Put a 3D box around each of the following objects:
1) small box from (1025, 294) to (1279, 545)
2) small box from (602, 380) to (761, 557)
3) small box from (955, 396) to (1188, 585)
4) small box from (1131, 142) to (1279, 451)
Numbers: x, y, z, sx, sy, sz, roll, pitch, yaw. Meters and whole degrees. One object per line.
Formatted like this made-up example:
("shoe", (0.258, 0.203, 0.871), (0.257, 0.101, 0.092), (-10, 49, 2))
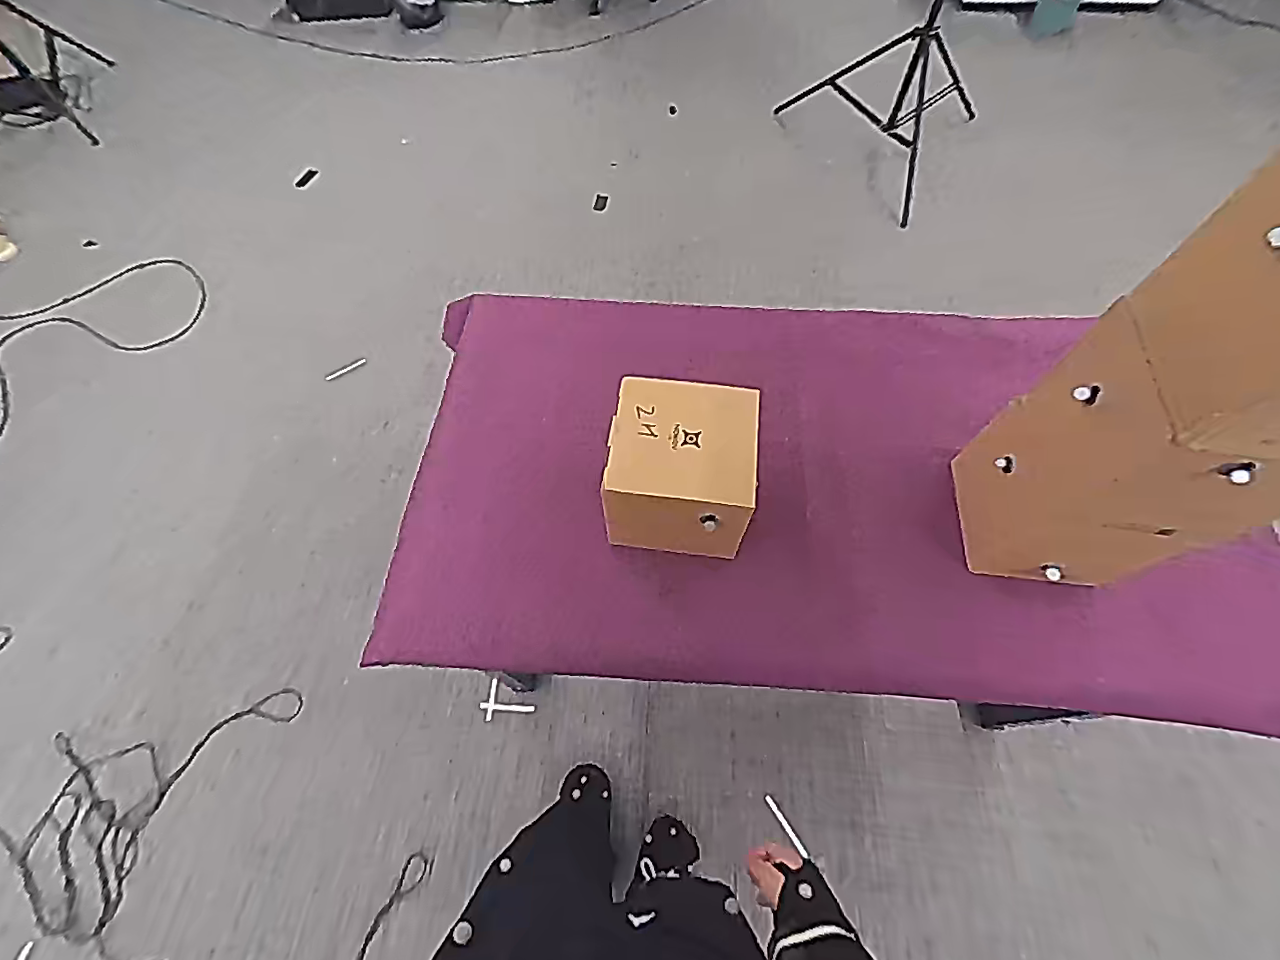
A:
("small box", (0.527, -0.055, 0.543), (0.168, 0.176, 0.179), (7, 61, 6))
("small box", (0.055, -0.008, 0.712), (0.179, 0.176, 0.168), (6, 61, 5))
("small box", (0.531, 0.018, 0.690), (0.168, 0.176, 0.179), (5, 62, 5))
("small box", (0.525, -0.126, 0.396), (0.168, 0.176, 0.179), (7, 62, 6))
